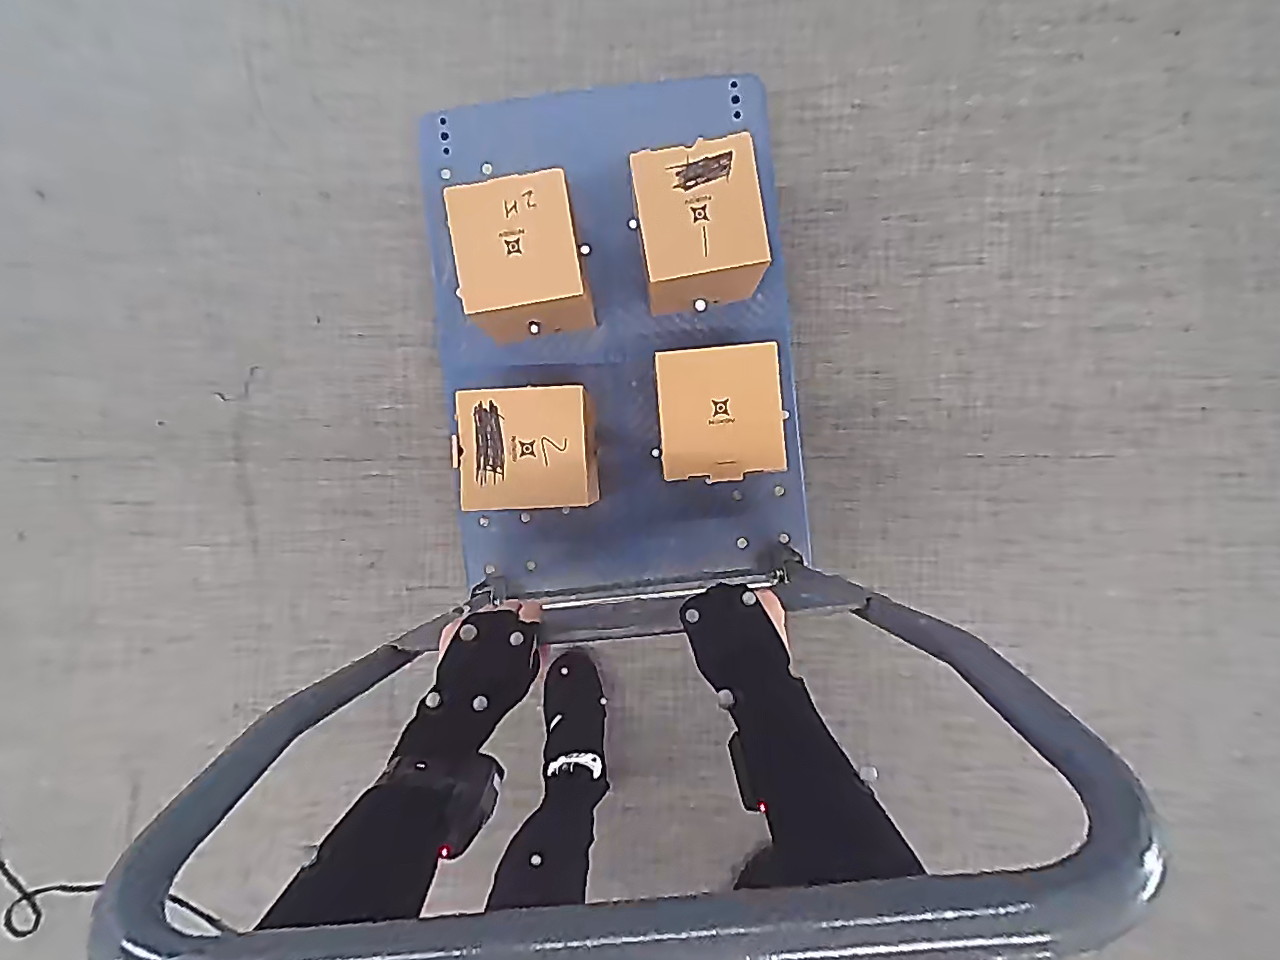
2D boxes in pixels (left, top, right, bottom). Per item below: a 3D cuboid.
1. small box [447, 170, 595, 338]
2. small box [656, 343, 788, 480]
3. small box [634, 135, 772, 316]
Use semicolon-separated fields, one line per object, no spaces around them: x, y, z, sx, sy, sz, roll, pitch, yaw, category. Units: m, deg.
-0.165;-0.319;0.804;0.168;0.176;0.179;-9;91;1;small box
0.112;-0.092;0.802;0.168;0.176;0.179;-5;91;1;small box
0.085;-0.361;0.796;0.168;0.176;0.179;-9;92;3;small box
